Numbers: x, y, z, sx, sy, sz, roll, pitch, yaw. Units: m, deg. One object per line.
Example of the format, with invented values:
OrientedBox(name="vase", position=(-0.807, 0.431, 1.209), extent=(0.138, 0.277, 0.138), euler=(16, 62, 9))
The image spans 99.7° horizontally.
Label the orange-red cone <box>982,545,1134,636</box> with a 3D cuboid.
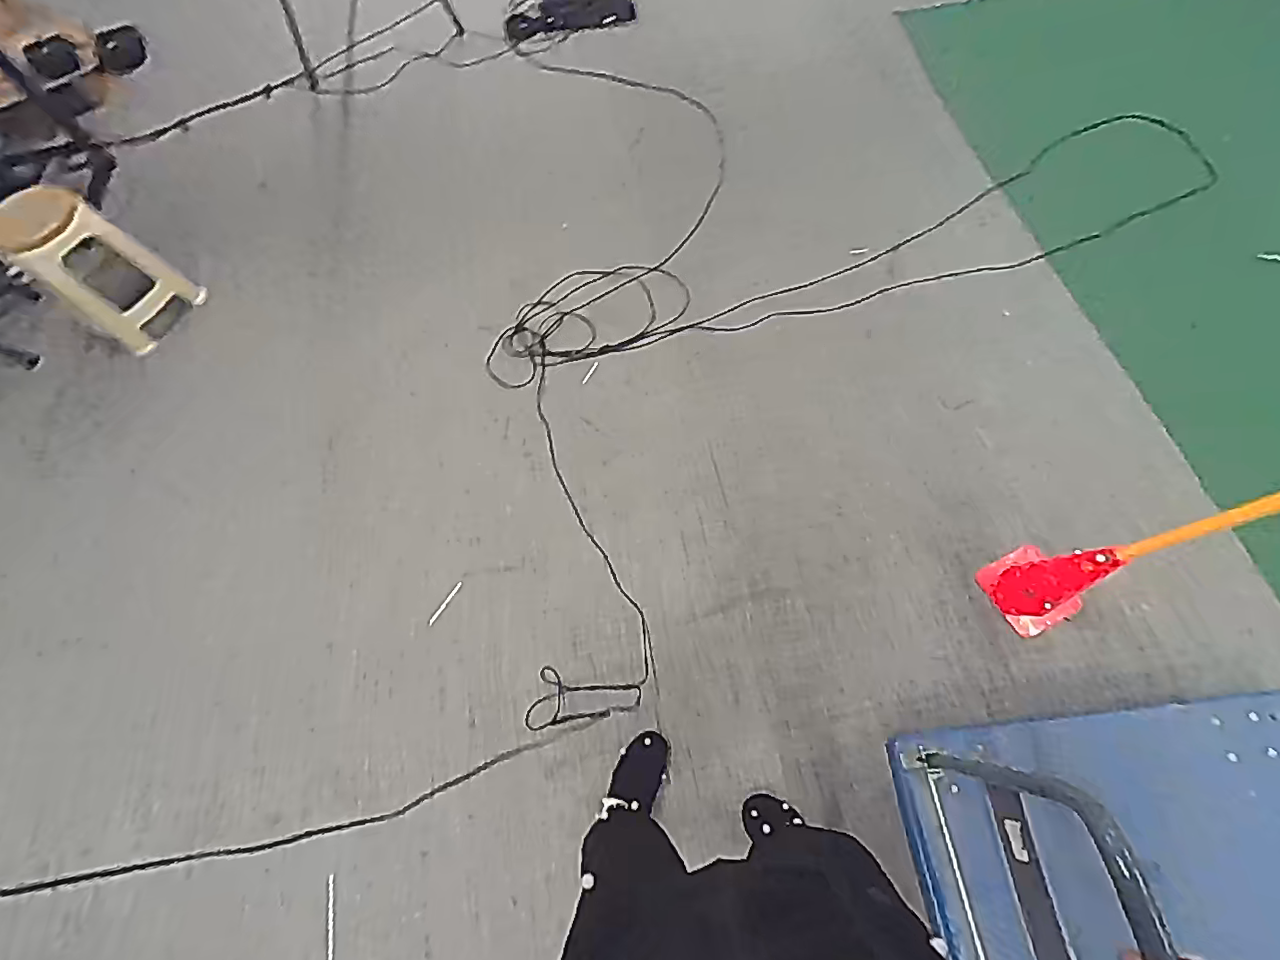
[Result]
OrientedBox(name="orange-red cone", position=(1.037, 0.226, 1.300), extent=(0.198, 0.360, 0.199), euler=(-25, 65, -6))
